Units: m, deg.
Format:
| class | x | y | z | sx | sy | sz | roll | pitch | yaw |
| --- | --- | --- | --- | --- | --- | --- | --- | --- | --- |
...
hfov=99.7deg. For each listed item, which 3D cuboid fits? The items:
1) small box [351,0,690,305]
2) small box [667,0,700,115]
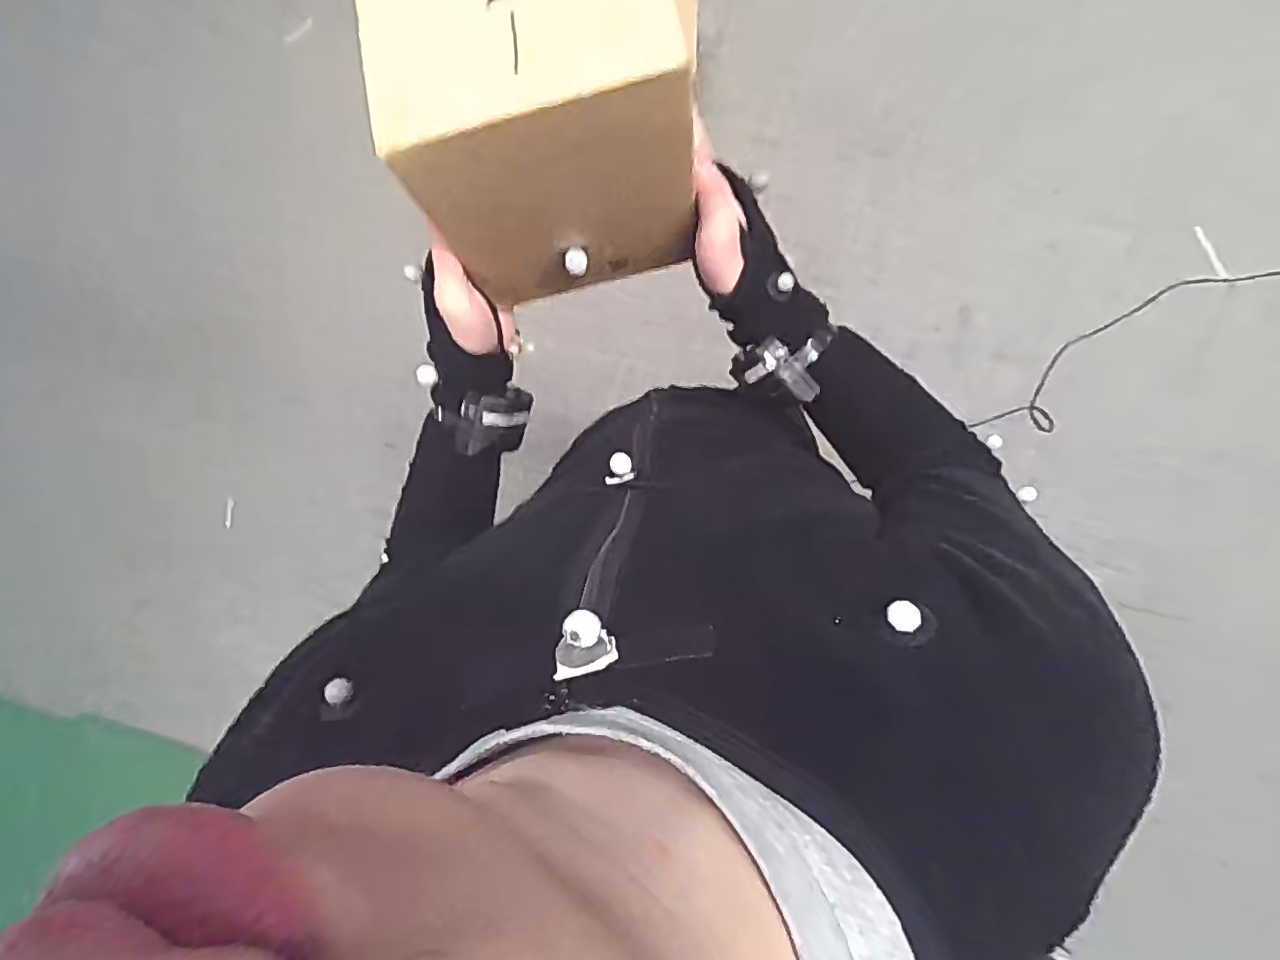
| class | x | y | z | sx | sy | sz | roll | pitch | yaw |
| --- | --- | --- | --- | --- | --- | --- | --- | --- | --- |
| small box | -0.063 | -0.247 | 0.360 | 0.168 | 0.176 | 0.179 | -12 | 80 | 6 |
| small box | 0.061 | -1.019 | 1.318 | 0.168 | 0.176 | 0.179 | 1 | 97 | 7 |
